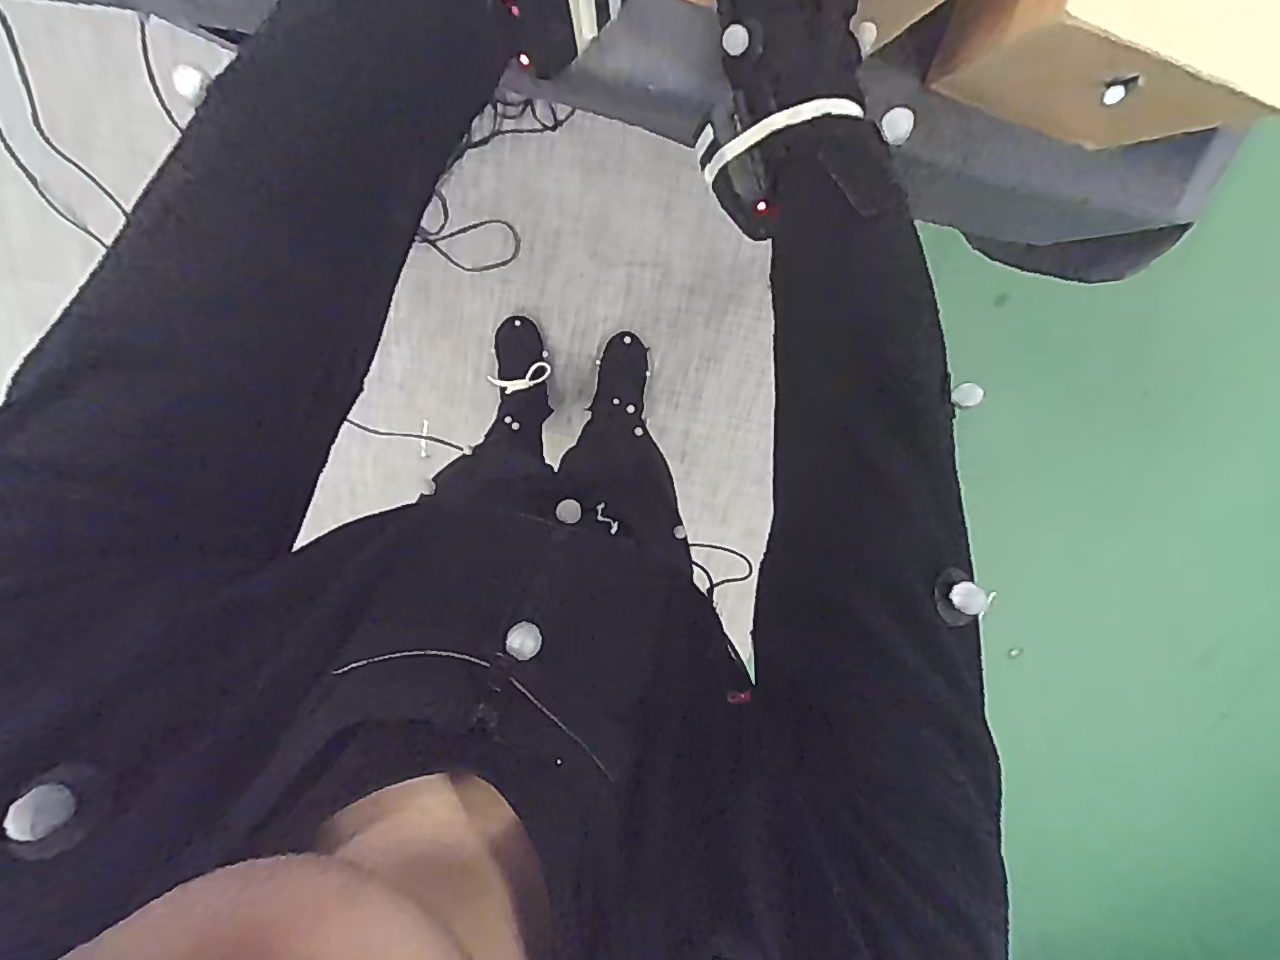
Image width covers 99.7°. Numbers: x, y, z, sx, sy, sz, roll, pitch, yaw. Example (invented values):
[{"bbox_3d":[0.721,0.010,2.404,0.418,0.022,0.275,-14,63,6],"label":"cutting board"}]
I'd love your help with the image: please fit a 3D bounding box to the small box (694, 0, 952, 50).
[{"bbox_3d":[0.130,-0.410,0.341,0.179,0.176,0.168,13,113,-7],"label":"small box"}]
